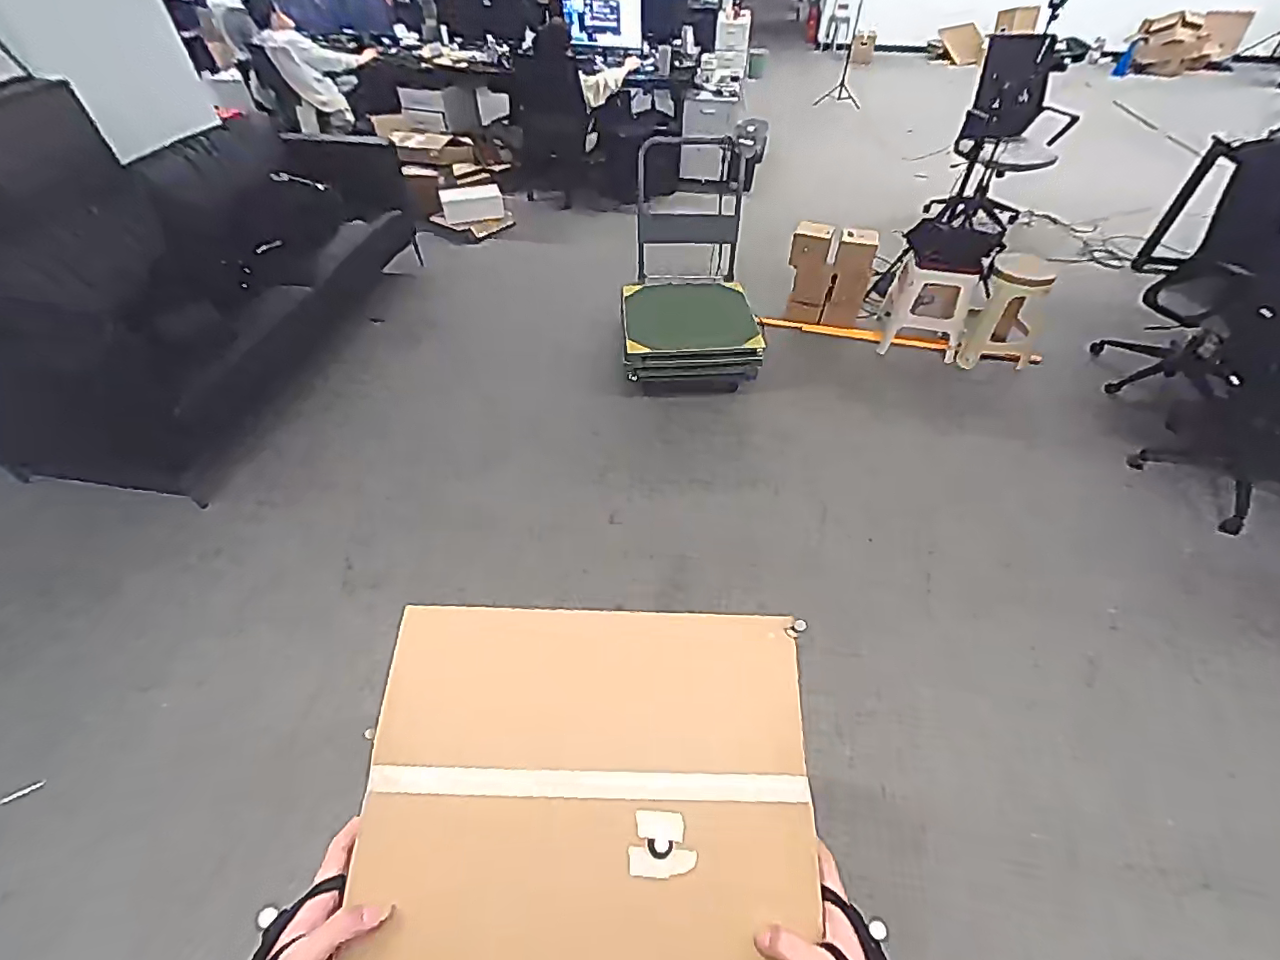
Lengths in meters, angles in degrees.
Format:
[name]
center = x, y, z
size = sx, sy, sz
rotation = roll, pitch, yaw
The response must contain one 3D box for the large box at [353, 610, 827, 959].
[large box]
center = -0.045, 0.344, 0.642
size = 0.408, 0.320, 0.320
rotation = 1, 65, -1
